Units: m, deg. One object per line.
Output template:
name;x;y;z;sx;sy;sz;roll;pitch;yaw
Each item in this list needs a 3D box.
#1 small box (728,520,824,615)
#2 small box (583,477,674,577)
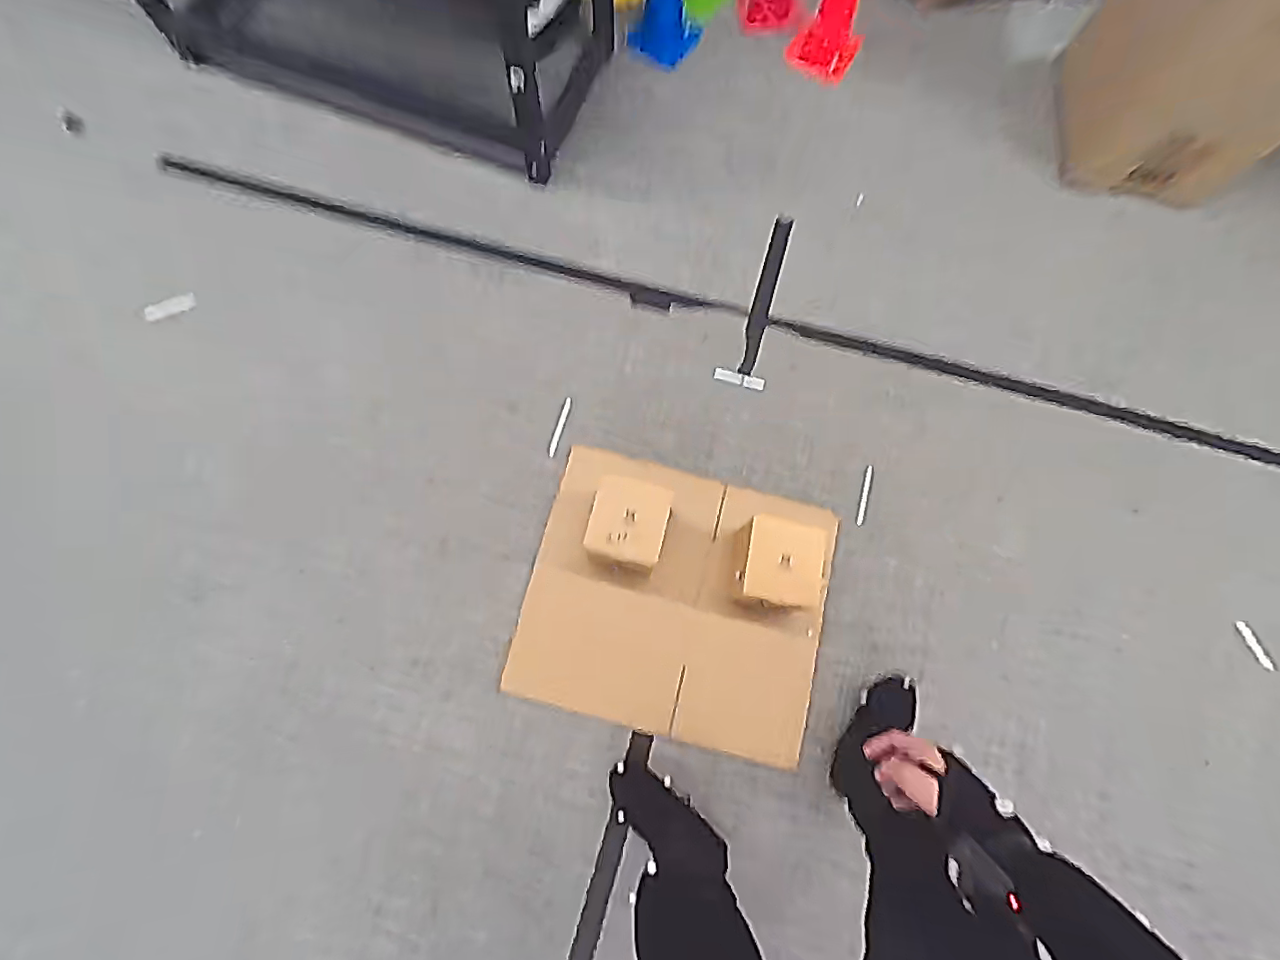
small box;0.305;0.205;1.239;0.168;0.176;0.179;11;75;1
small box;-0.027;0.114;1.243;0.168;0.176;0.179;14;75;2
